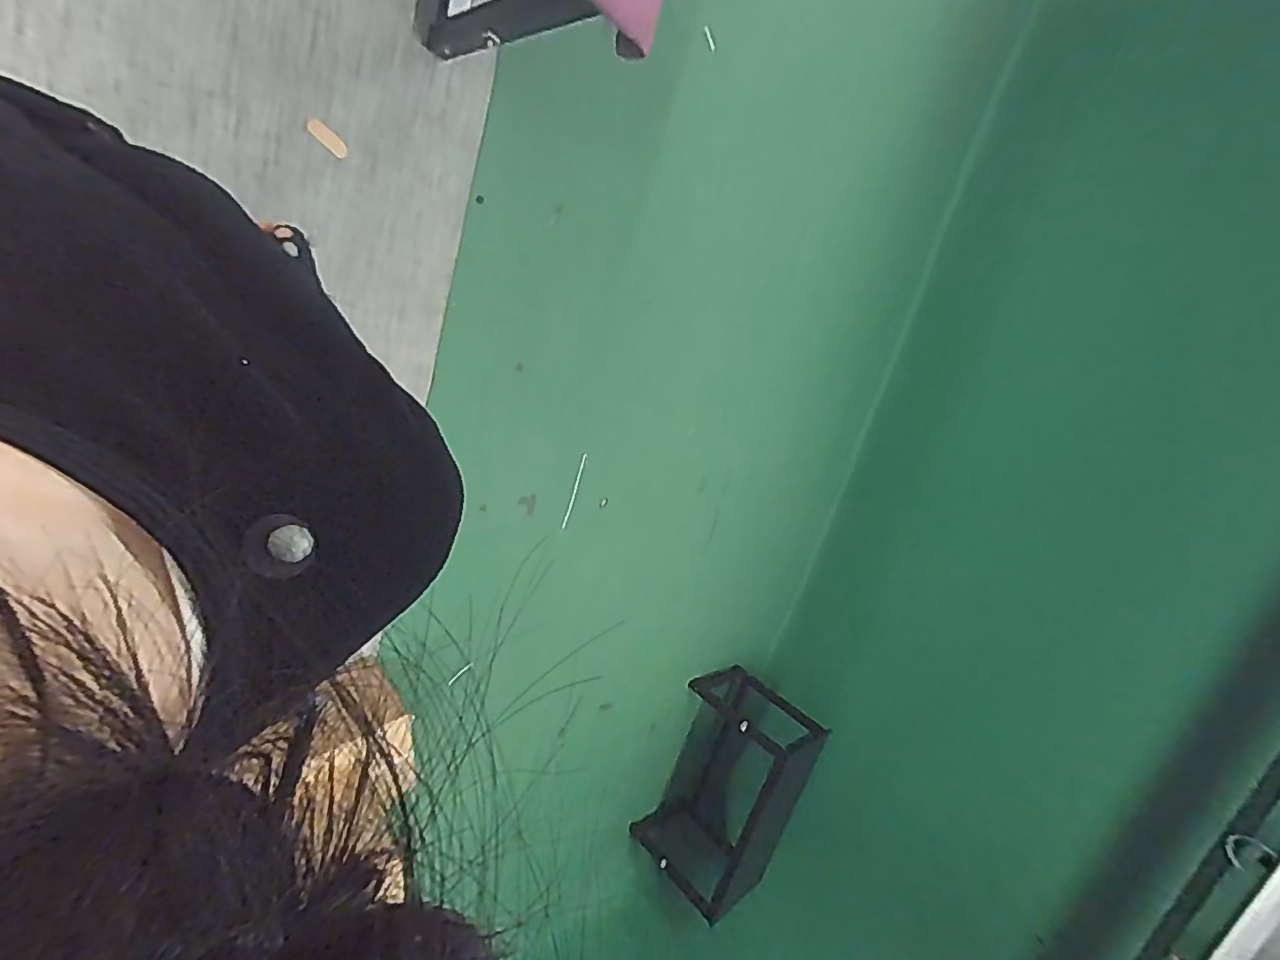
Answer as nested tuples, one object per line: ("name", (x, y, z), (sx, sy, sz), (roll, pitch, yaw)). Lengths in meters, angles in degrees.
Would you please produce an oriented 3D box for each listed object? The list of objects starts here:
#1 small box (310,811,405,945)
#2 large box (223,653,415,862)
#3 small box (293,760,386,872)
("small box", (-0.693, 0.954, 1.322), (0.168, 0.176, 0.179), (-8, 116, -44))
("large box", (-0.940, 0.794, 1.608), (0.408, 0.320, 0.320), (-16, 124, -42))
("small box", (-0.795, 0.890, 1.433), (0.179, 0.176, 0.168), (-11, 118, -43))
